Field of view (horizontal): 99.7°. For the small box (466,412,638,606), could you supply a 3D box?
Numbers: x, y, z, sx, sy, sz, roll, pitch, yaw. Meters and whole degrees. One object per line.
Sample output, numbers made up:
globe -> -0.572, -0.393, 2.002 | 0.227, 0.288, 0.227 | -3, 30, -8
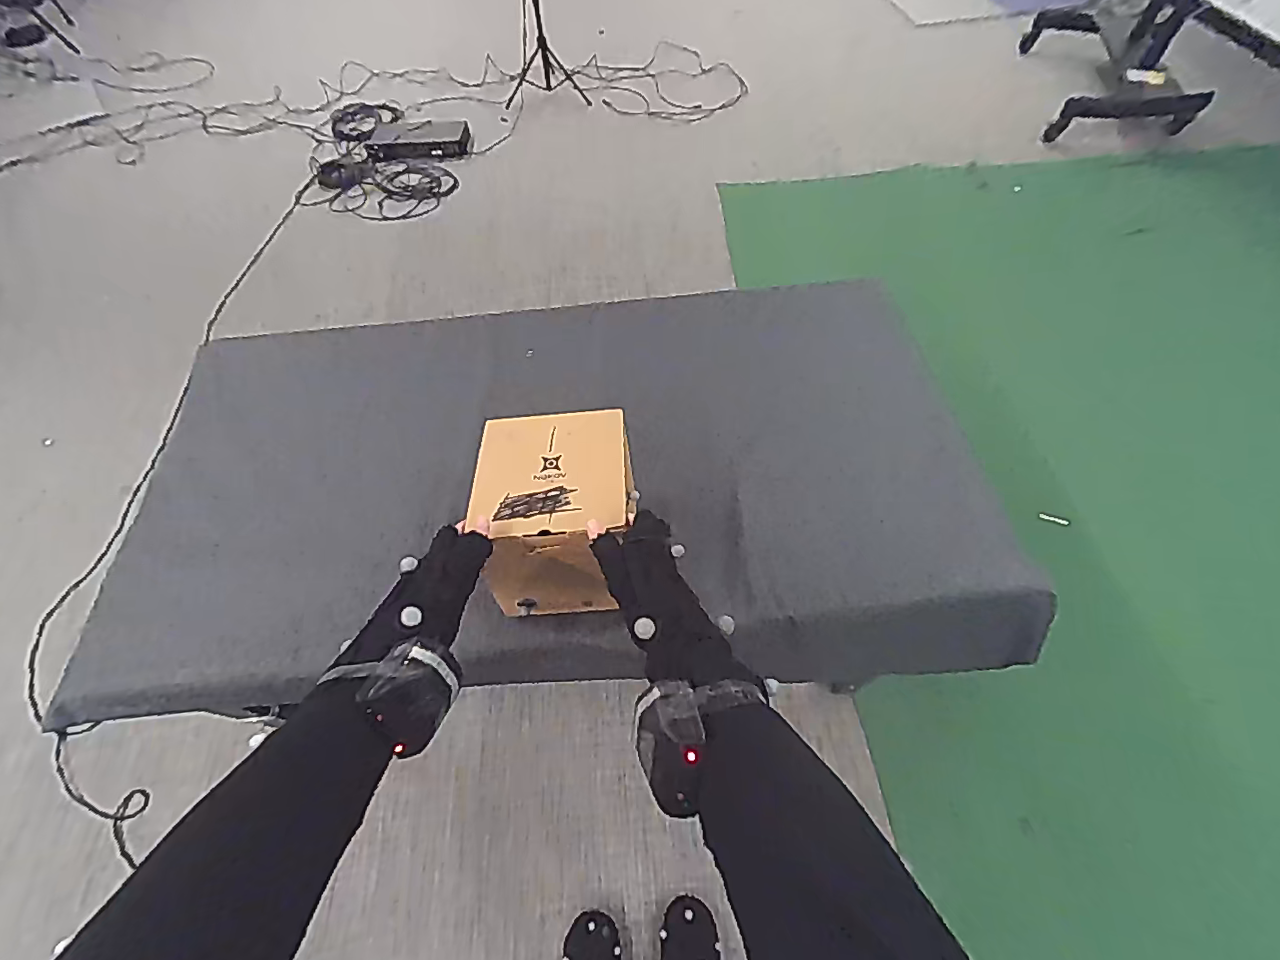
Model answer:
small box -> -0.090, 0.042, 0.654 | 0.168, 0.176, 0.179 | -3, 49, 2
